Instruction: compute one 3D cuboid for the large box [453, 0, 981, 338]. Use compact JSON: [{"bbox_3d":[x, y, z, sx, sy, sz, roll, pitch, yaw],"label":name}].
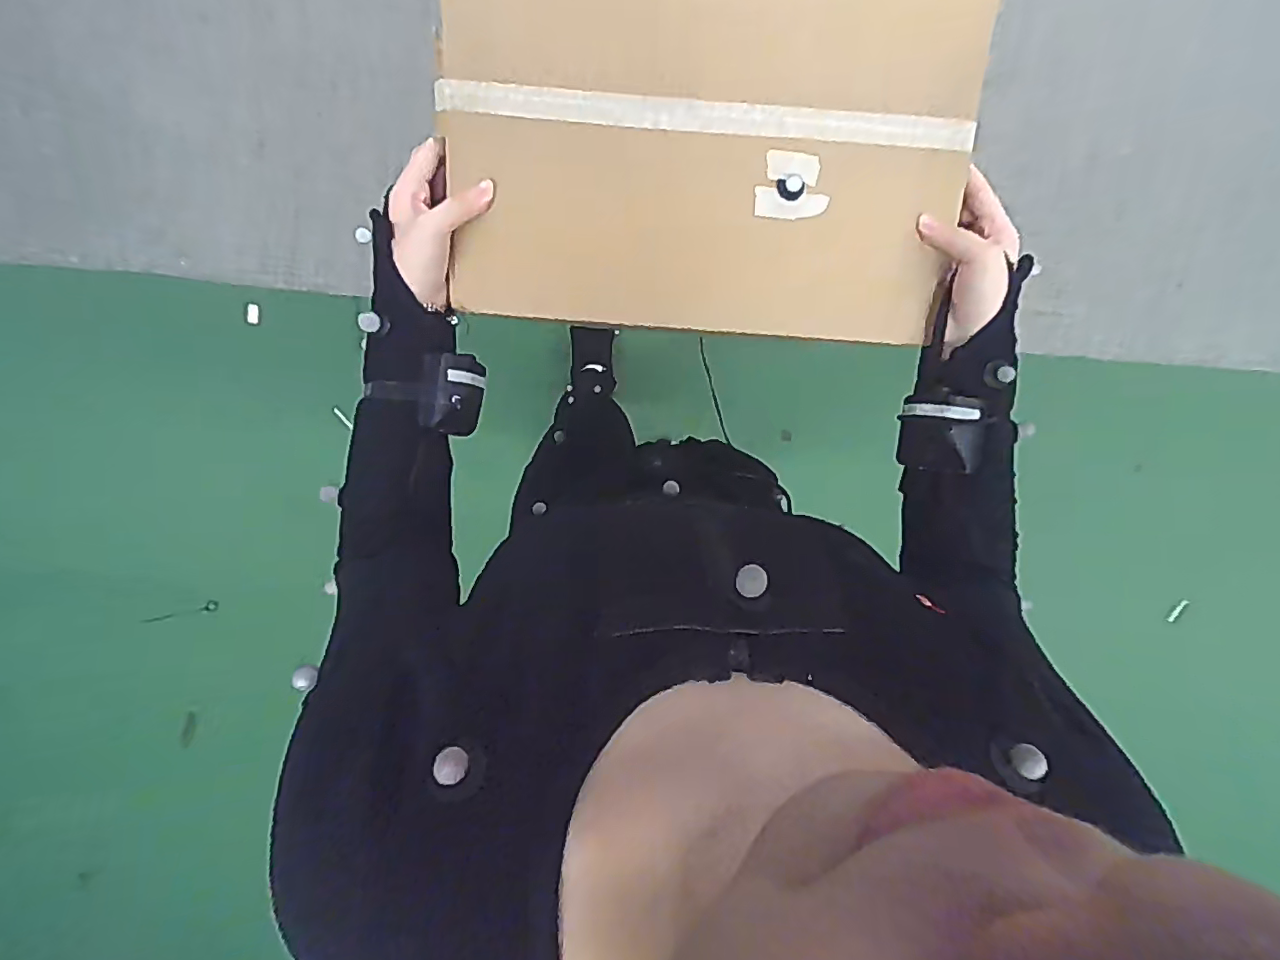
[{"bbox_3d":[0.050,-0.319,0.568,0.408,0.320,0.320,3,105,-3],"label":"large box"}]
